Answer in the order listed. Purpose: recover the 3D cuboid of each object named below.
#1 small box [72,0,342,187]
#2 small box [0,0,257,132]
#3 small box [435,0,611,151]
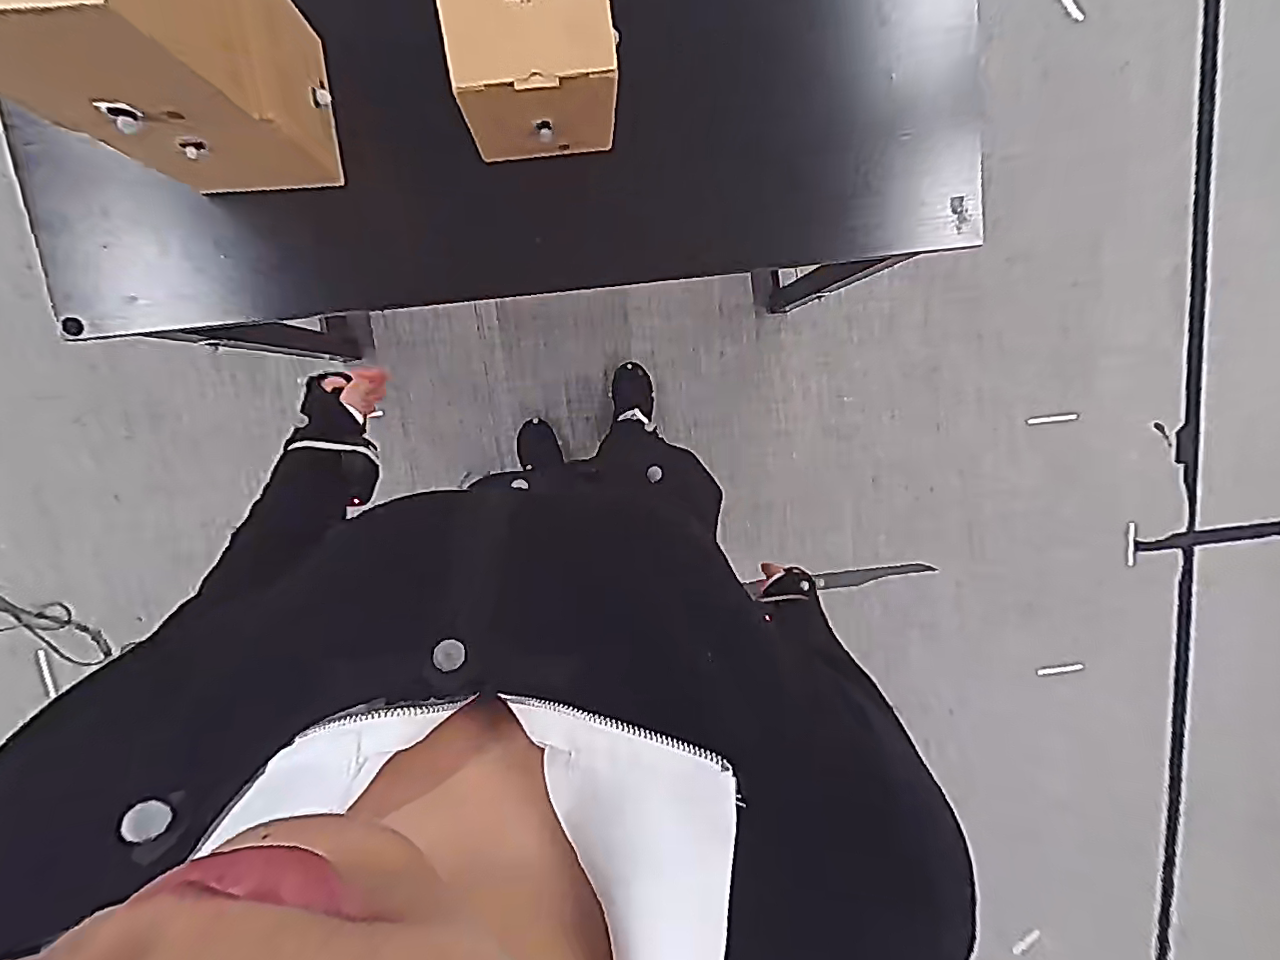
[{"bbox_3d":[-0.453,-0.430,0.575,0.179,0.176,0.168,-6,99,-5],"label":"small box"},{"bbox_3d":[-0.441,-0.404,0.415,0.168,0.176,0.179,-7,100,-3],"label":"small box"},{"bbox_3d":[-0.123,-0.489,0.598,0.168,0.176,0.179,-8,99,-4],"label":"small box"}]
